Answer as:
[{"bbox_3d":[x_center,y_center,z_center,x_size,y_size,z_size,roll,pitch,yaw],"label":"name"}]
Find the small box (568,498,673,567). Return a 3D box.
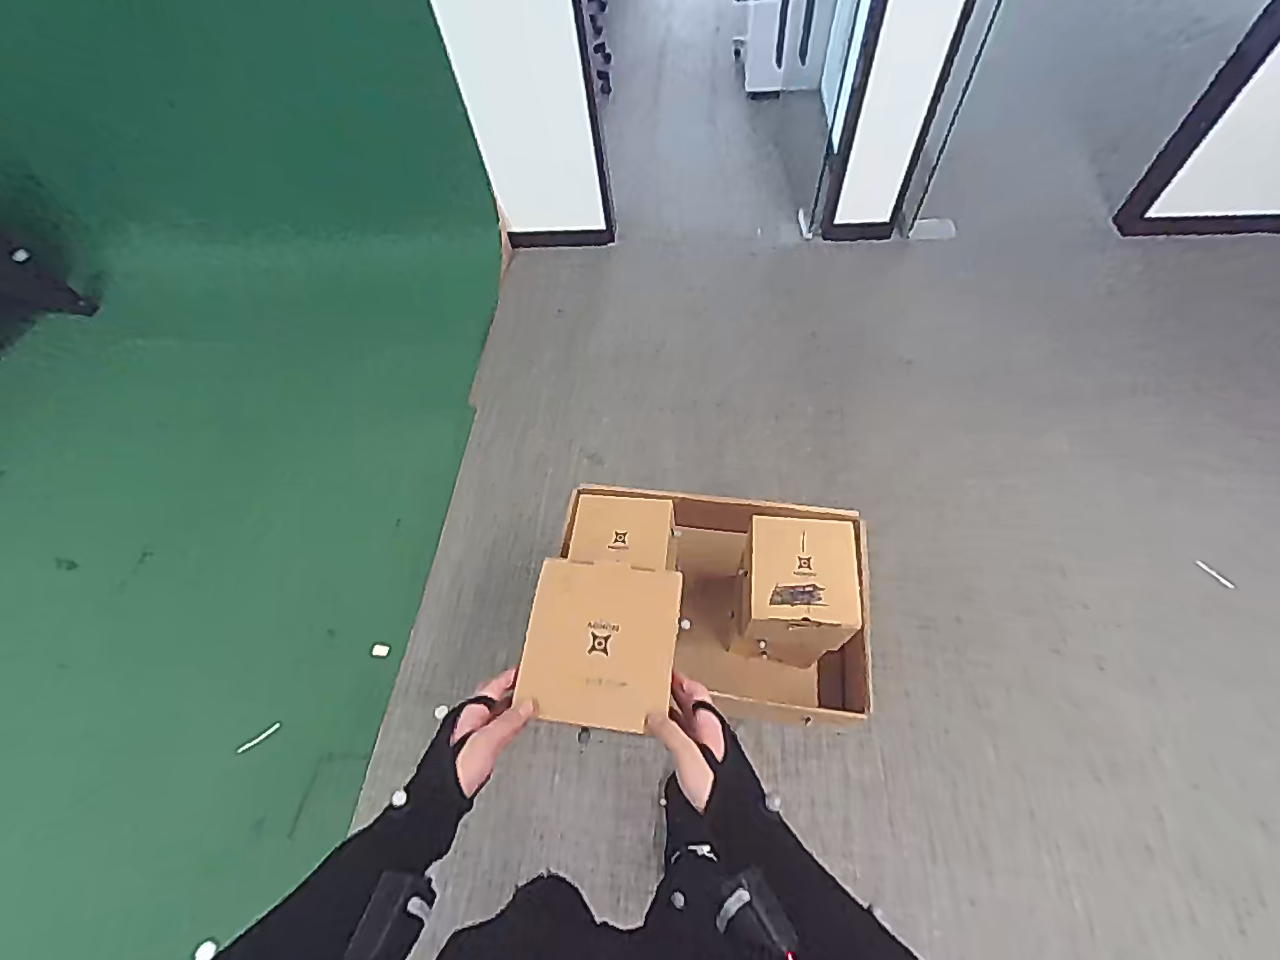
[{"bbox_3d":[-0.031,0.152,0.964,0.168,0.176,0.179,4,60,8],"label":"small box"}]

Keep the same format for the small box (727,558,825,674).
[{"bbox_3d":[0.265,0.265,1.065,0.168,0.176,0.179,8,61,9],"label":"small box"}]

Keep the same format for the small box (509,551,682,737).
[{"bbox_3d":[-0.042,0.205,0.659,0.168,0.176,0.179,6,63,6],"label":"small box"}]

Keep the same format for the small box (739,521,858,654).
[{"bbox_3d":[0.260,0.188,0.920,0.168,0.176,0.179,4,60,7],"label":"small box"}]
